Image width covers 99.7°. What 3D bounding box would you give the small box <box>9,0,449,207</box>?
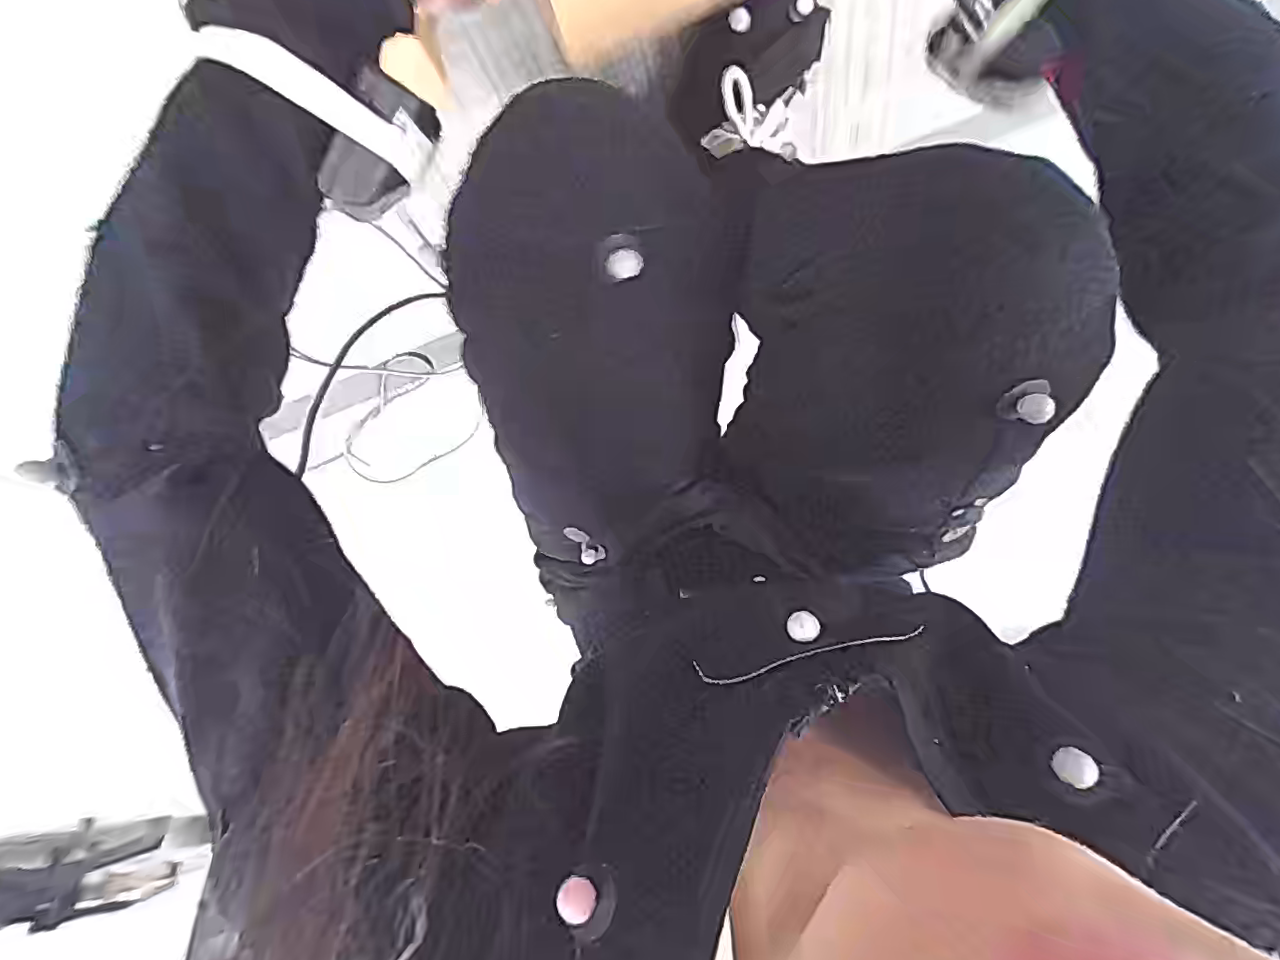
[{"bbox_3d":[-0.245,-0.320,0.334,0.179,0.176,0.168,-23,150,8],"label":"small box"}]
